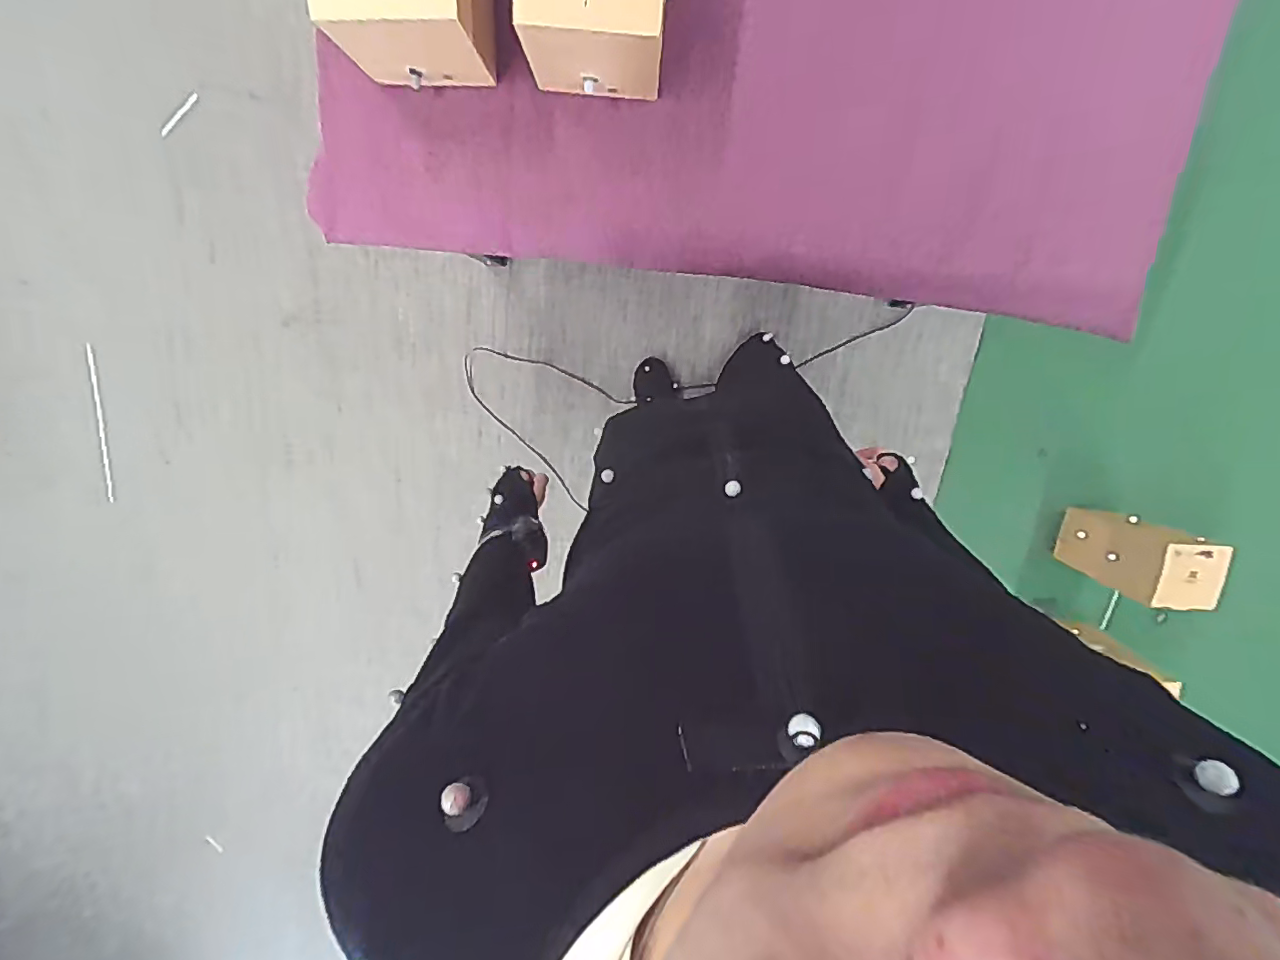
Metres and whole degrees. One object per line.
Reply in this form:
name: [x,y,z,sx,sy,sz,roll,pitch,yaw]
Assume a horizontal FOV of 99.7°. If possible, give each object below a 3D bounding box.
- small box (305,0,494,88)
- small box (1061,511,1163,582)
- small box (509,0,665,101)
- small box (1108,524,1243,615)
small box: [-0.281,-0.609,0.649,0.168,0.176,0.179,1,105,2]
small box: [1.385,0.193,1.573,0.179,0.176,0.168,5,104,-1]
small box: [-0.054,-0.595,0.648,0.168,0.176,0.179,6,106,0]
small box: [1.383,0.230,1.413,0.168,0.176,0.179,3,105,0]
